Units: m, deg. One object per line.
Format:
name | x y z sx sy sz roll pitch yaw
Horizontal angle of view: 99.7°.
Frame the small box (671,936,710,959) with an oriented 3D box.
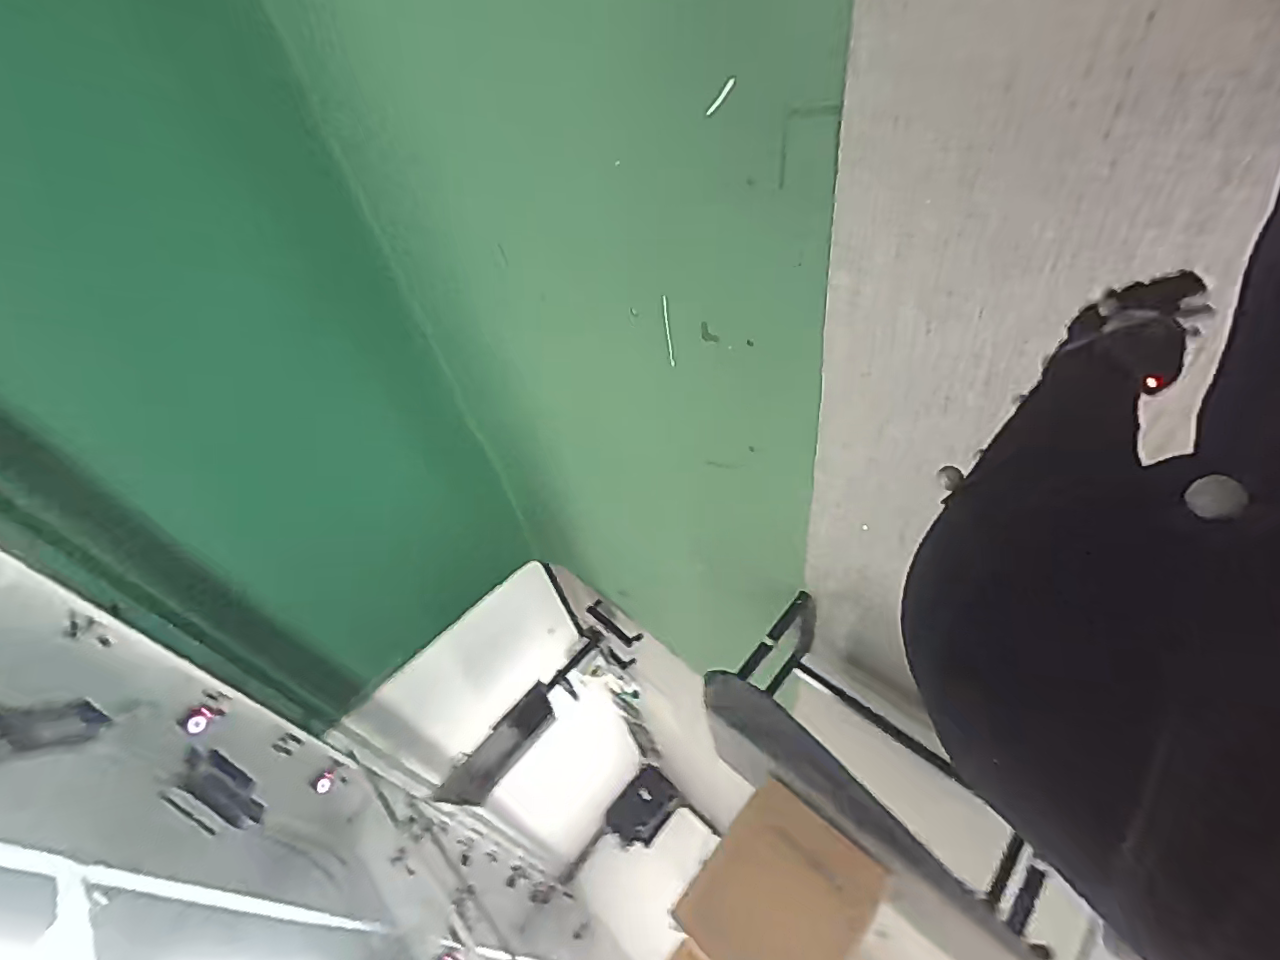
small box | 0.191 1.767 1.905 0.168 0.176 0.179 25 143 43
